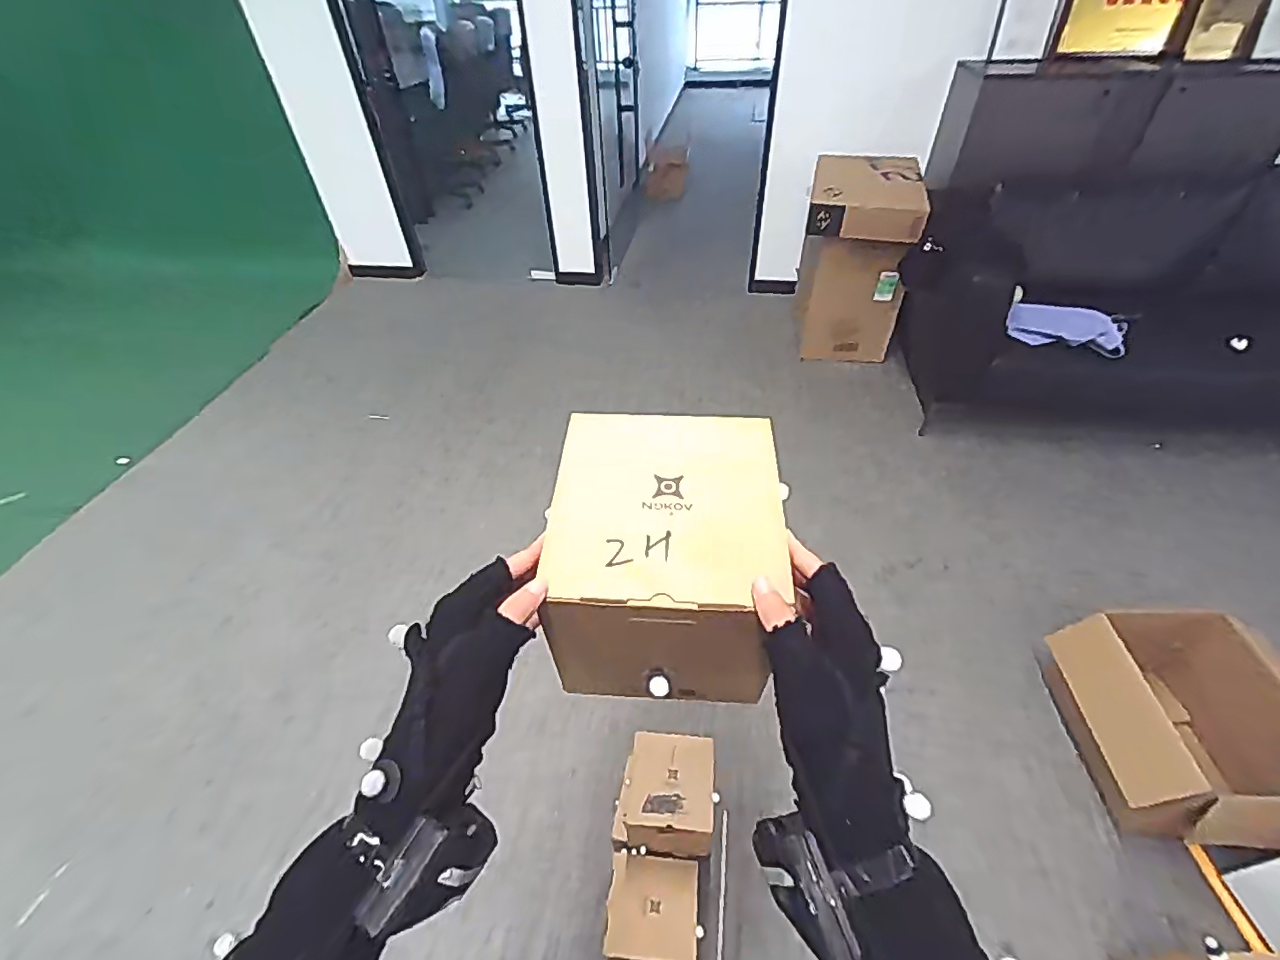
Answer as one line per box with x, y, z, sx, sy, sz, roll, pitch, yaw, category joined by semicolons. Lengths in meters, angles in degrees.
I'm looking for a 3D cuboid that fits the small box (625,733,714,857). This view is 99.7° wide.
0.064;0.650;1.112;0.168;0.176;0.179;4;43;5;small box
